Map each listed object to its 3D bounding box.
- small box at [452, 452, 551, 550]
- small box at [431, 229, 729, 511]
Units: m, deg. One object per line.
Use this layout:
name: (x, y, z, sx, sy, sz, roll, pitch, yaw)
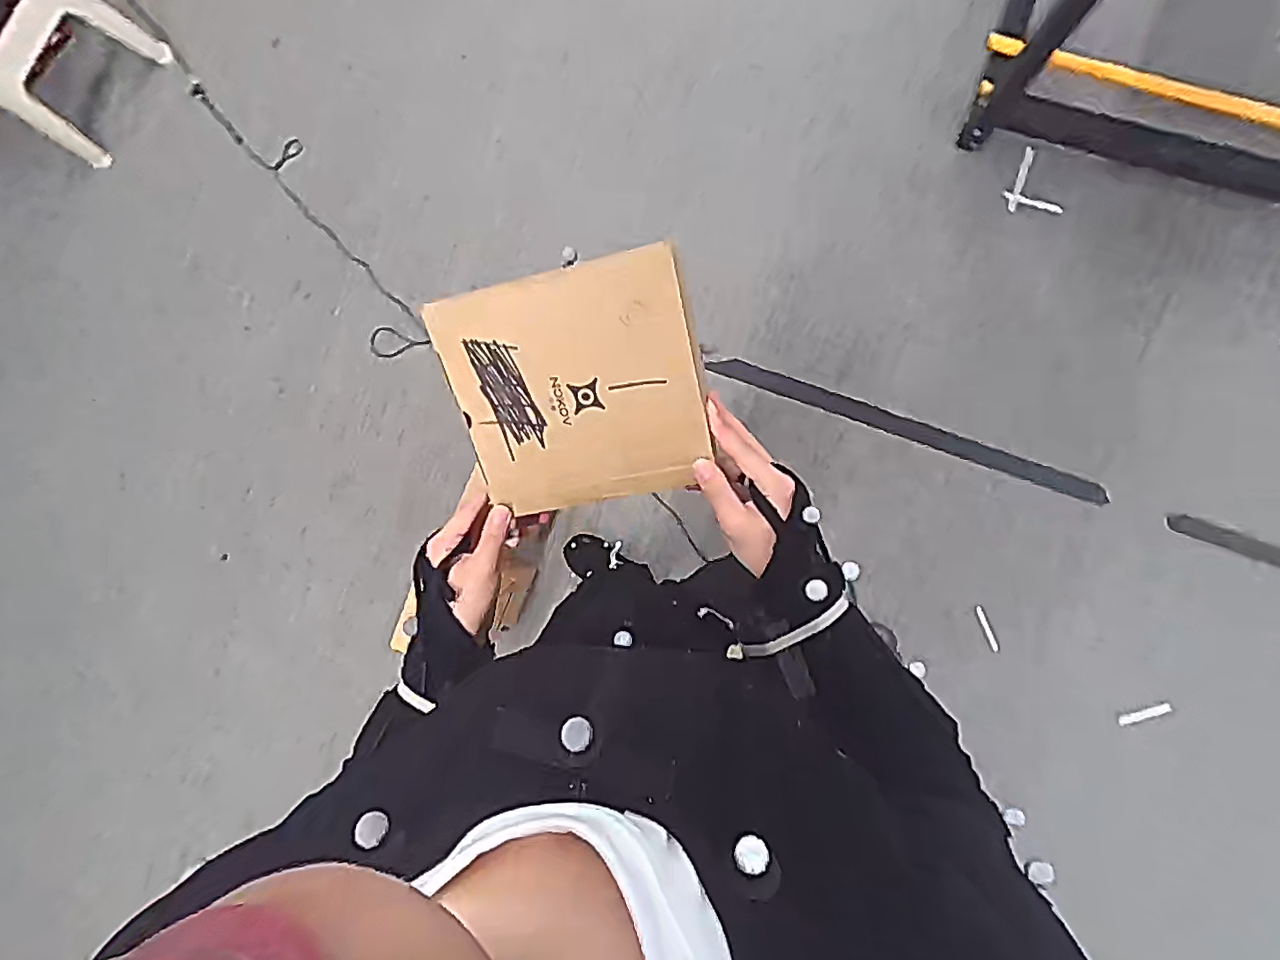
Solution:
small box: (-0.317, 0.047, 1.306, 0.168, 0.176, 0.179, 25, 92, 5)
small box: (-0.029, -0.094, 0.439, 0.179, 0.176, 0.168, -10, 113, 9)
